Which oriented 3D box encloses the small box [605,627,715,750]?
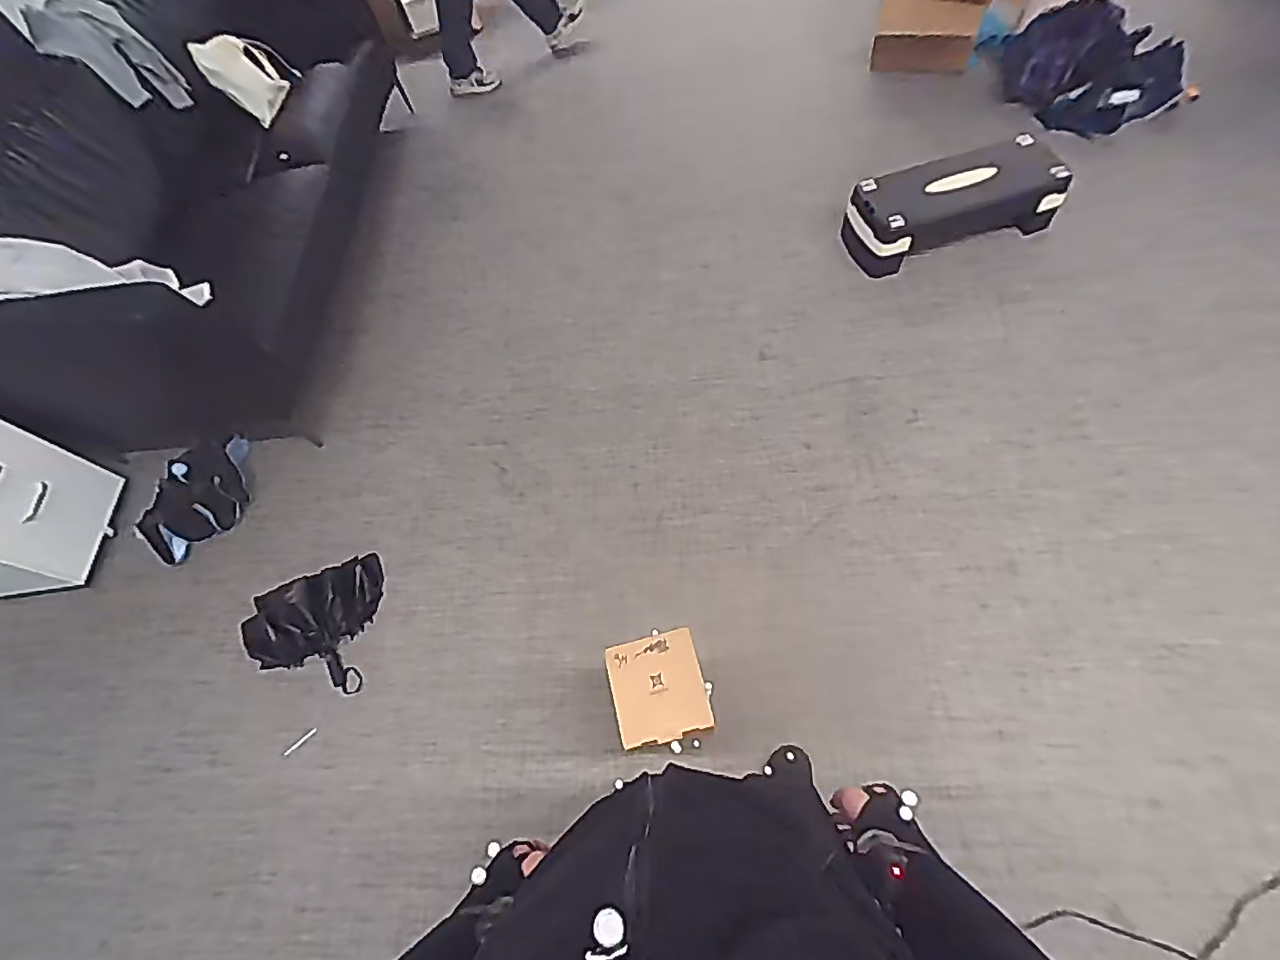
[{"bbox_3d":[0.044,0.399,1.031,0.168,0.176,0.179,-15,63,1],"label":"small box"}]
